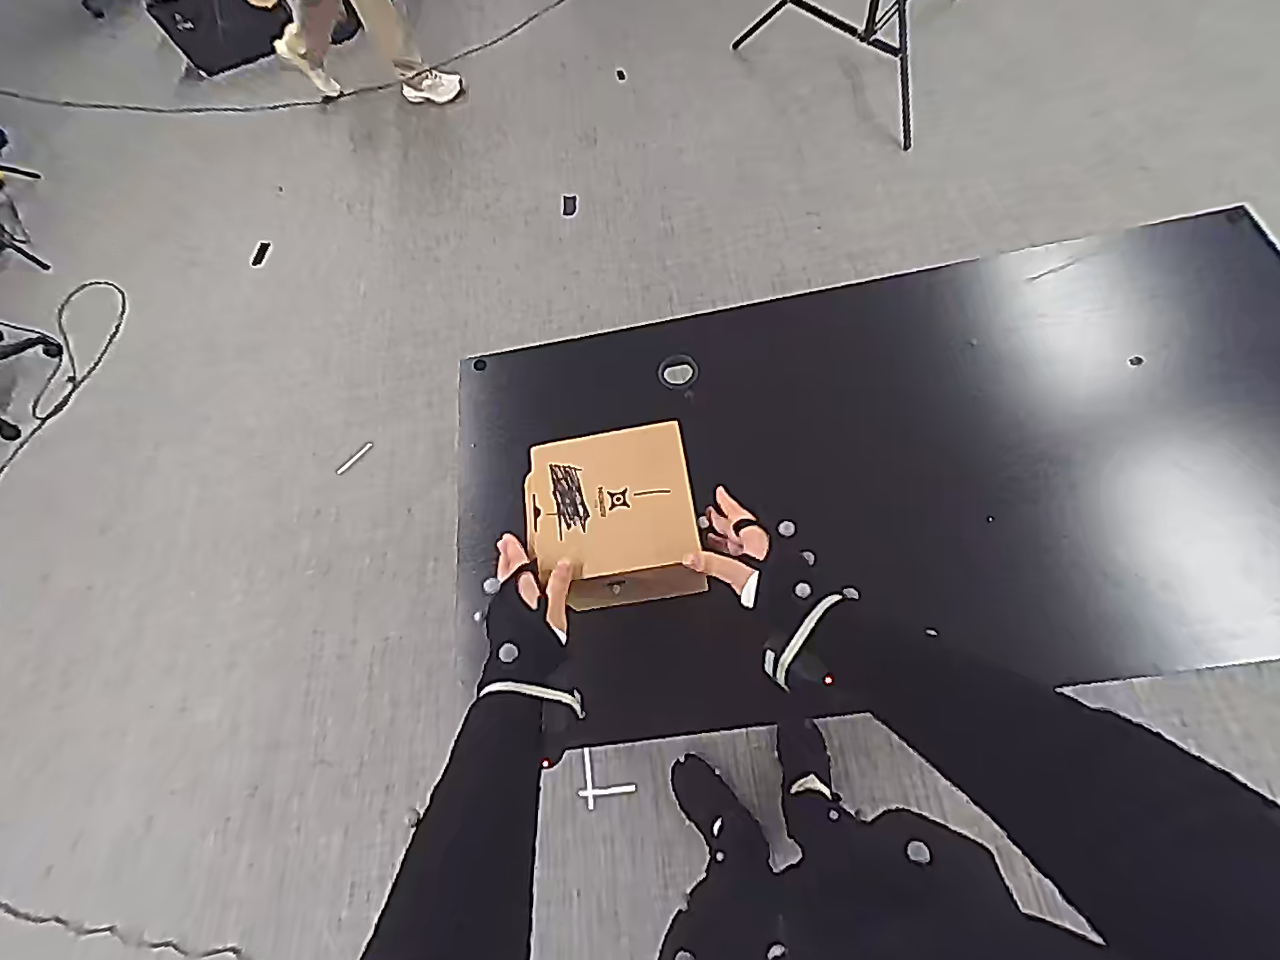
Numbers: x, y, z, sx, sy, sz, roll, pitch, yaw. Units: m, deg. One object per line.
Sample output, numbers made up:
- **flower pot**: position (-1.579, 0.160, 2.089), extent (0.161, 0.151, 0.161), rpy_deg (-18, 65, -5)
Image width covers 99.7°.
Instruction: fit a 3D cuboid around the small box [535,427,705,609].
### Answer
- **small box**: position (-0.019, 0.057, 0.671), extent (0.179, 0.176, 0.168), rpy_deg (-10, 66, 4)
